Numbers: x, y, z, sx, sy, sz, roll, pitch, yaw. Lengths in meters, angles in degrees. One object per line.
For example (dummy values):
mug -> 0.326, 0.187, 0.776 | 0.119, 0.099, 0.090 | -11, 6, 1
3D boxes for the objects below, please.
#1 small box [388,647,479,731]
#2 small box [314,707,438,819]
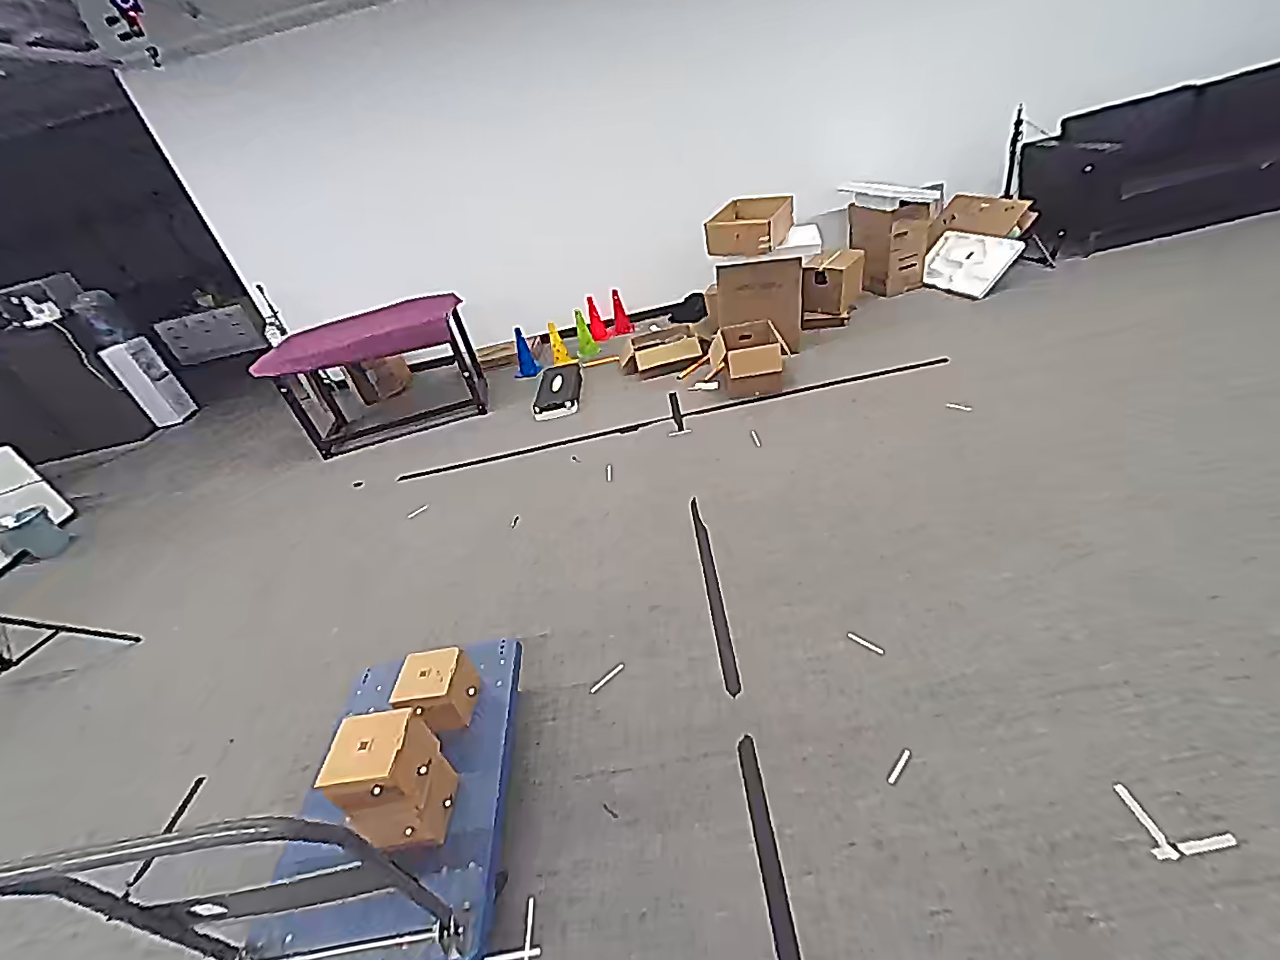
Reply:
small box -> -0.606, 0.626, 1.610 | 0.179, 0.176, 0.168 | -10, 35, 6
small box -> -0.605, 0.664, 1.265 | 0.179, 0.176, 0.168 | -10, 34, 3
